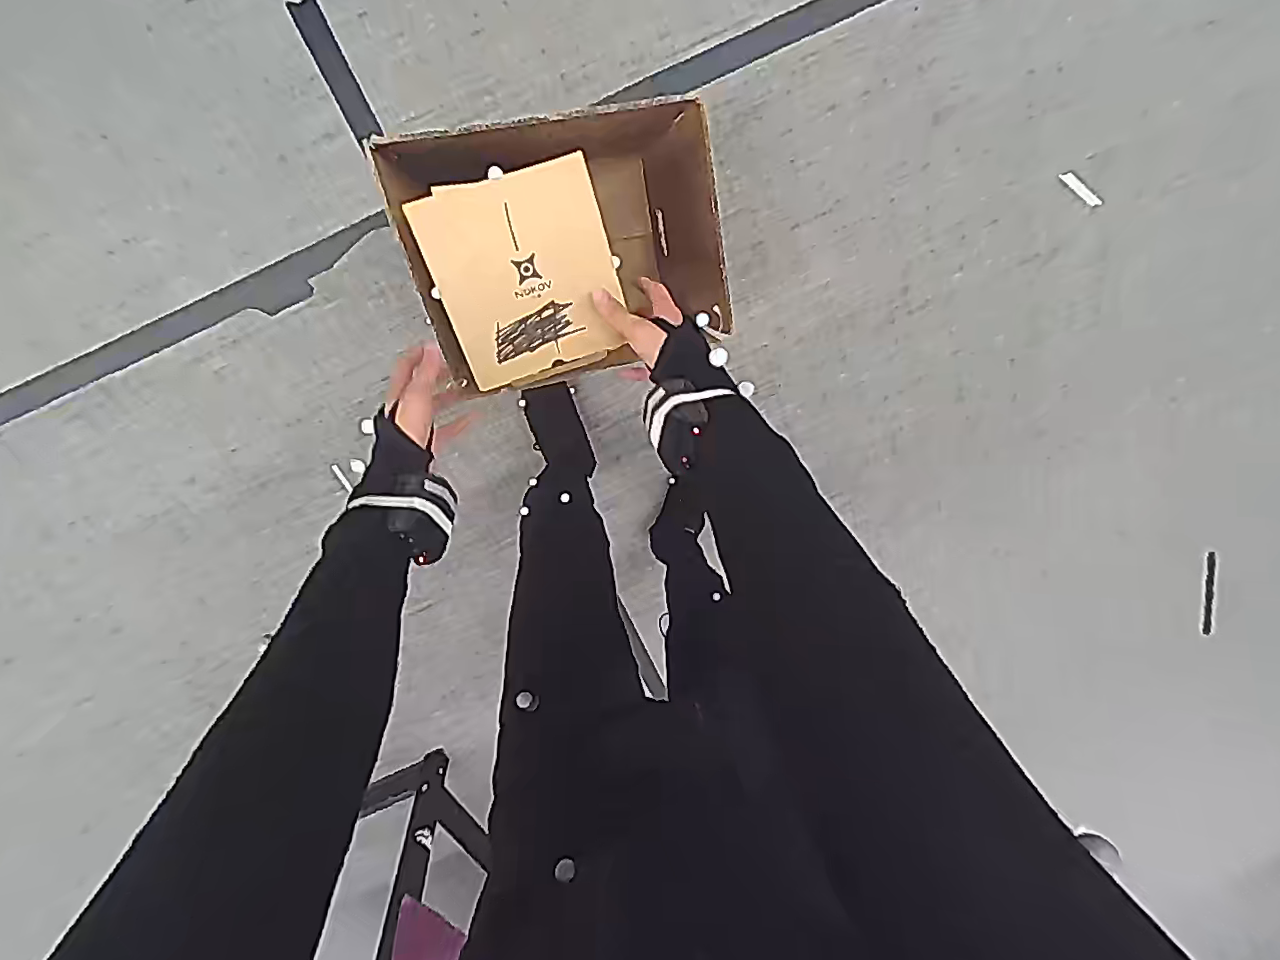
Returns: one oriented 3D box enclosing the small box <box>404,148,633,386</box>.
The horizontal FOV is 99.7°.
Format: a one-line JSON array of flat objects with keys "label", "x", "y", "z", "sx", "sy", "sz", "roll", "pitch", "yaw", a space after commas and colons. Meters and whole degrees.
[{"label": "small box", "x": -0.120, "y": -0.223, "z": 0.571, "sx": 0.168, "sy": 0.176, "sz": 0.179, "roll": -19, "pitch": 116, "yaw": -5}]
